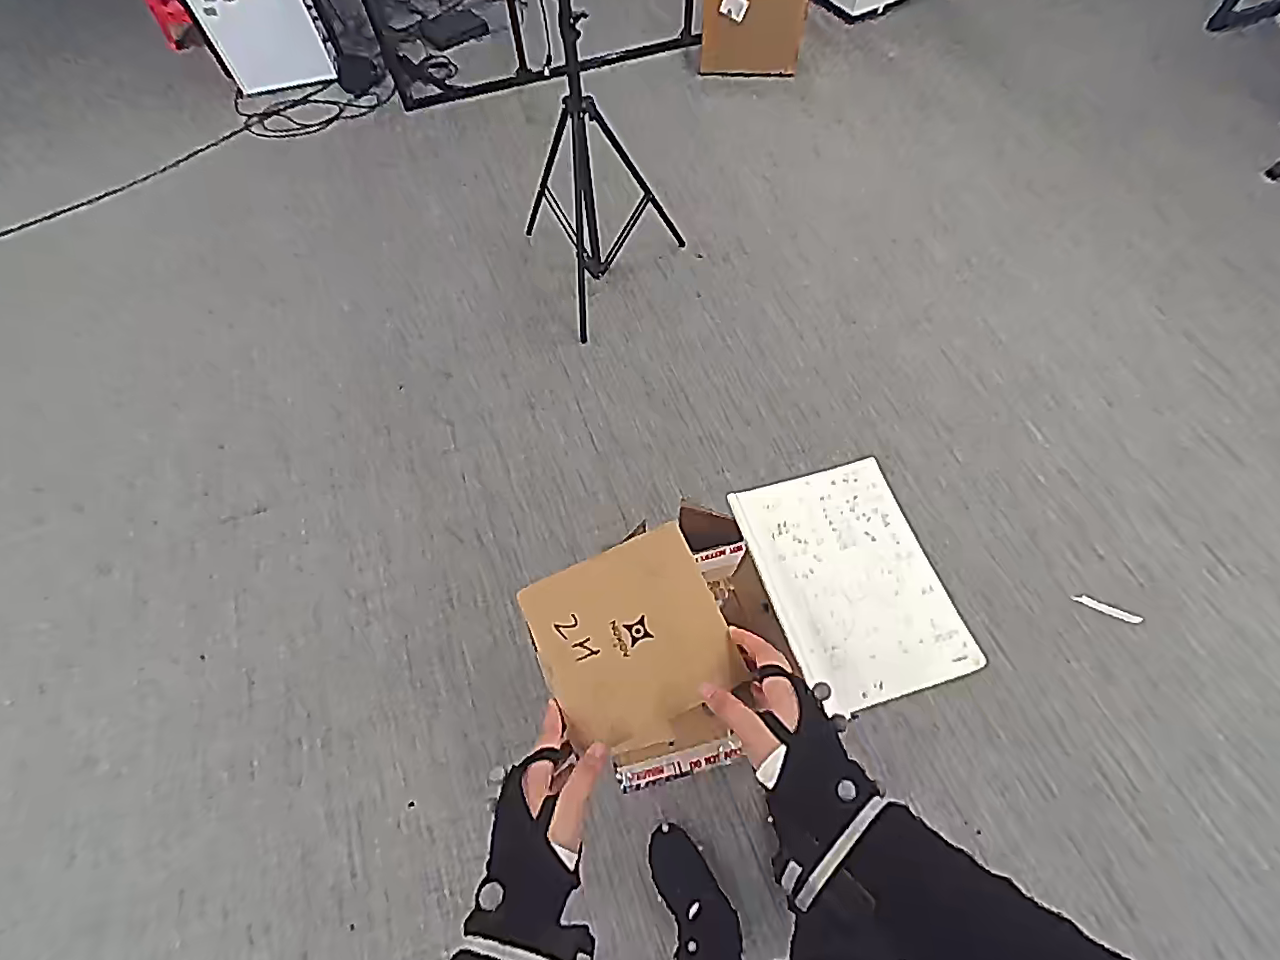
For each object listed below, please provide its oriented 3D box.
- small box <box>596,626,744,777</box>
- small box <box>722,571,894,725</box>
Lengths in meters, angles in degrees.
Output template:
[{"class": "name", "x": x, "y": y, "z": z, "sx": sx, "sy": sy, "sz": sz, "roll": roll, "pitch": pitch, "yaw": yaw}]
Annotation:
[{"class": "small box", "x": 0.039, "y": 0.329, "z": 0.809, "sx": 0.179, "sy": 0.176, "sz": 0.168, "roll": -12, "pitch": 65, "yaw": -3}, {"class": "small box", "x": 0.245, "y": 0.265, "z": 0.838, "sx": 0.179, "sy": 0.176, "sz": 0.168, "roll": -19, "pitch": 65, "yaw": -9}]
